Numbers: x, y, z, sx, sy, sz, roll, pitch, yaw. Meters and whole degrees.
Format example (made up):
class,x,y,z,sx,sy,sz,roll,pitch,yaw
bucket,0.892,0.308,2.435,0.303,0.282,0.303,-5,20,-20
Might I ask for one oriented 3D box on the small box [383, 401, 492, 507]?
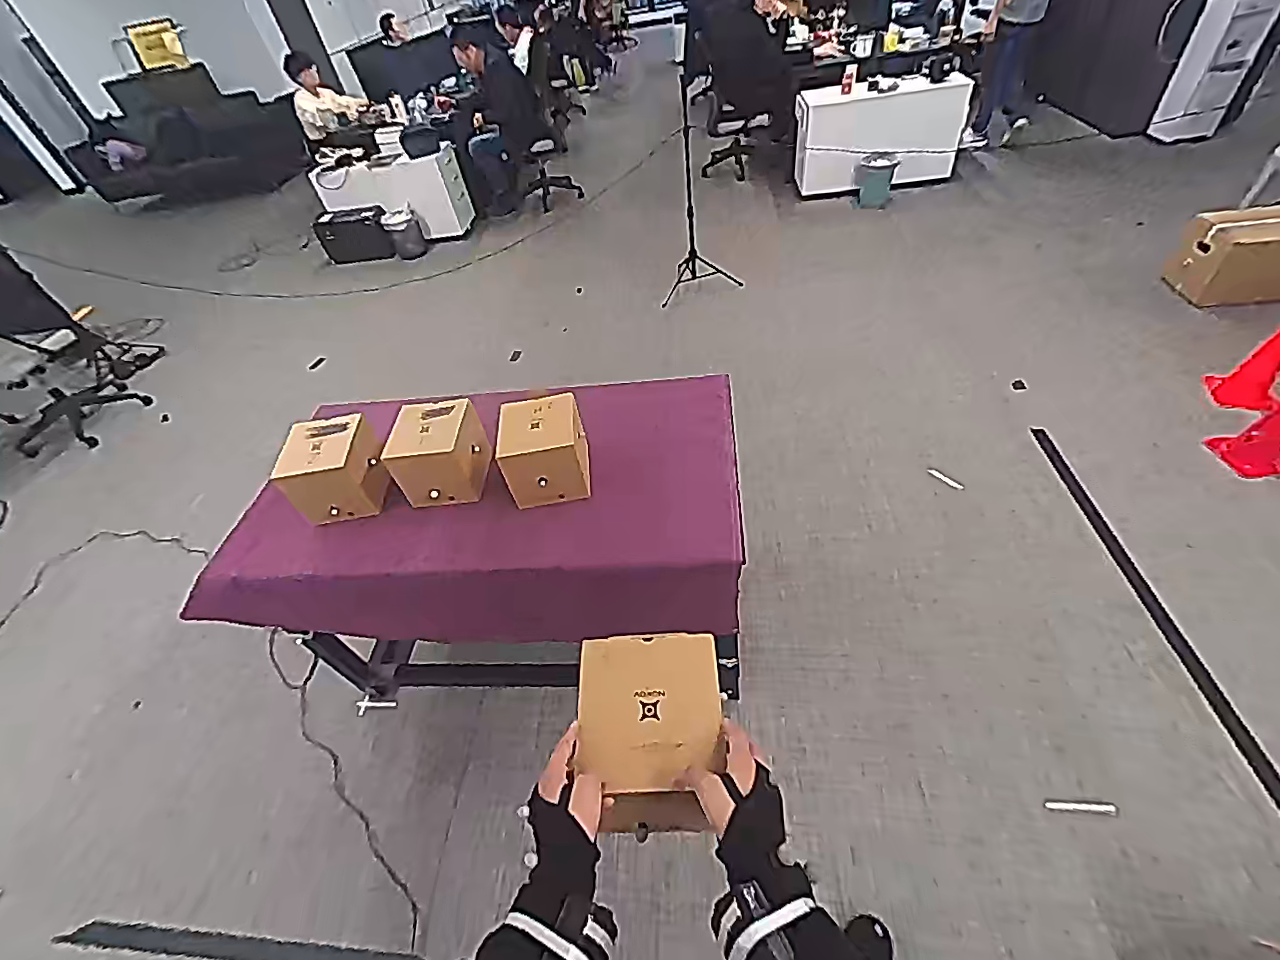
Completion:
class,x,y,z,sx,sy,sz,roll,pitch,yaw
small box,-0.460,-0.059,1.263,0.168,0.176,0.179,-5,47,5

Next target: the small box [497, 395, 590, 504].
class,x,y,z,sx,sy,sz,roll,pitch,yaw
small box,-0.210,-0.062,1.219,0.168,0.176,0.179,-9,46,1

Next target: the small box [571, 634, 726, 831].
class,x,y,z,sx,sy,sz,roll,pitch,yaw
small box,0.012,0.315,0.677,0.168,0.176,0.179,-3,44,2
